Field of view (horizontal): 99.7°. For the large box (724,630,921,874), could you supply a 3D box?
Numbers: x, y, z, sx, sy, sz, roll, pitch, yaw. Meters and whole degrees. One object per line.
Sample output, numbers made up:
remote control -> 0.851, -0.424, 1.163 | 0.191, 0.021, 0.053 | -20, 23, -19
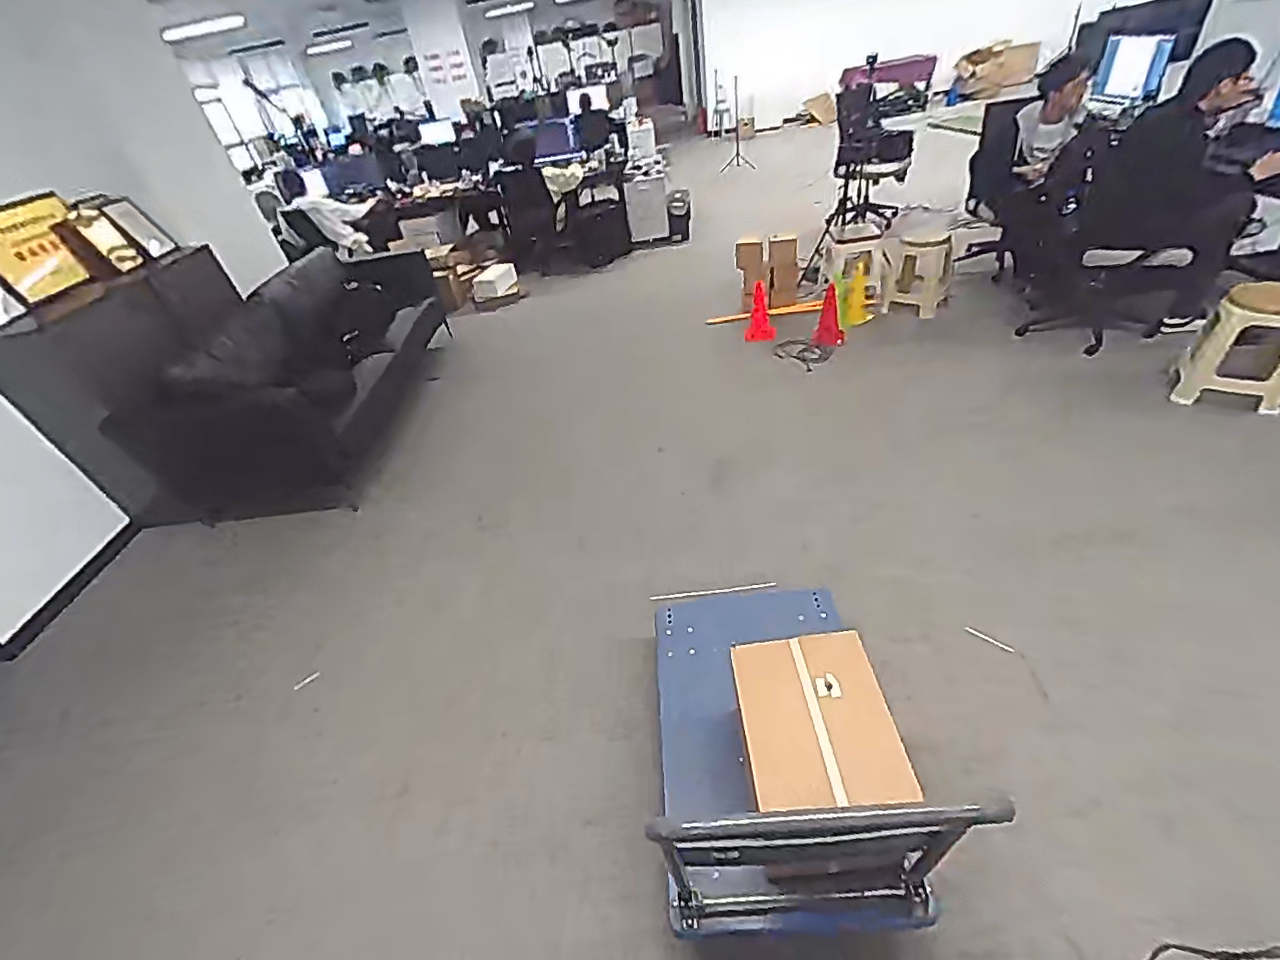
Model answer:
large box -> 0.392, 0.625, 1.263 | 0.320, 0.320, 0.408 | -8, 39, 4
